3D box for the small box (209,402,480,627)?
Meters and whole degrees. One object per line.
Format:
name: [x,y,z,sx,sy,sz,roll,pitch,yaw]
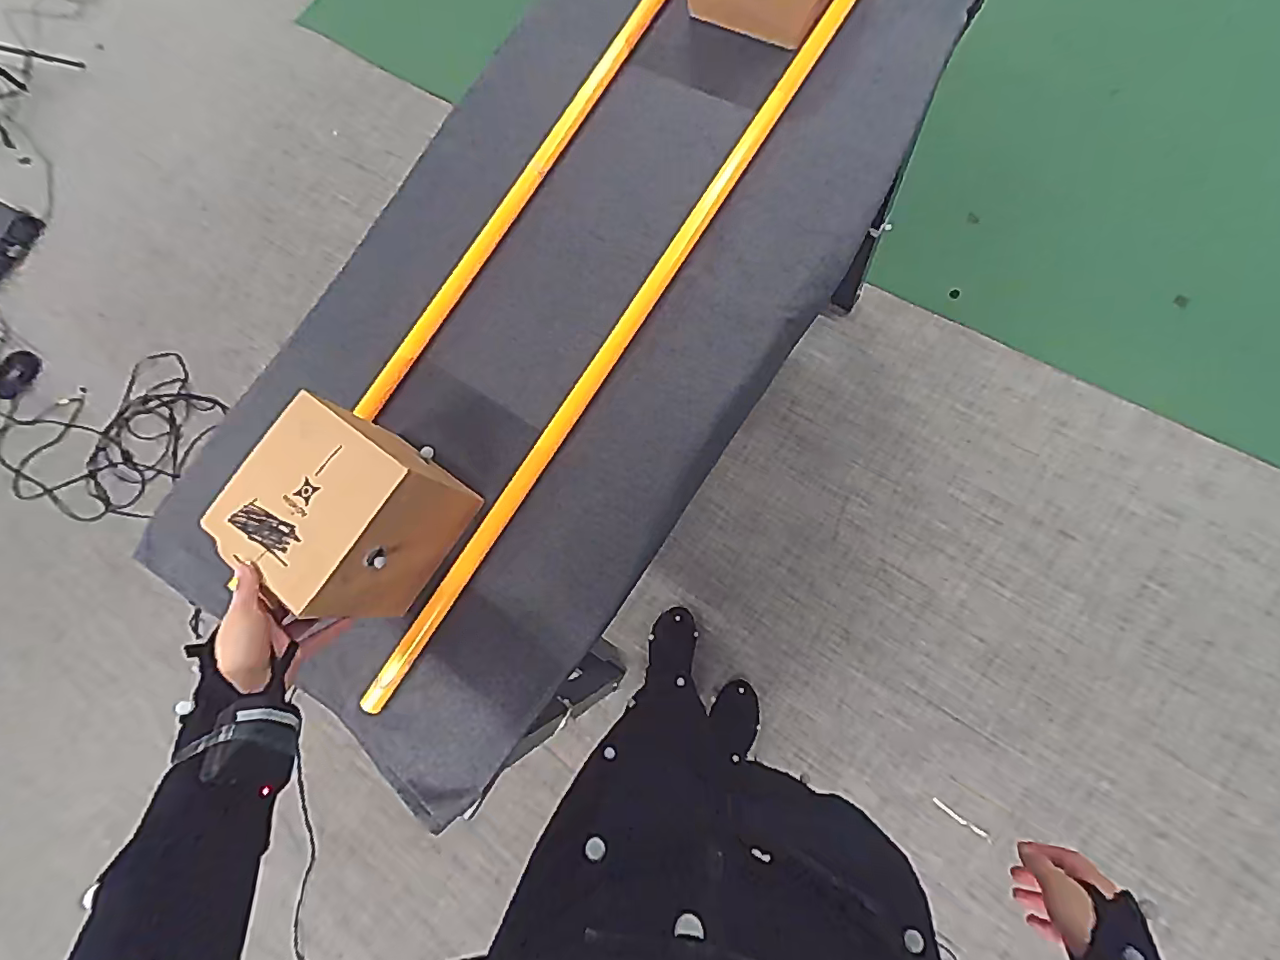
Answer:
small box: [-0.317,0.048,0.616,0.168,0.176,0.179,33,84,16]
